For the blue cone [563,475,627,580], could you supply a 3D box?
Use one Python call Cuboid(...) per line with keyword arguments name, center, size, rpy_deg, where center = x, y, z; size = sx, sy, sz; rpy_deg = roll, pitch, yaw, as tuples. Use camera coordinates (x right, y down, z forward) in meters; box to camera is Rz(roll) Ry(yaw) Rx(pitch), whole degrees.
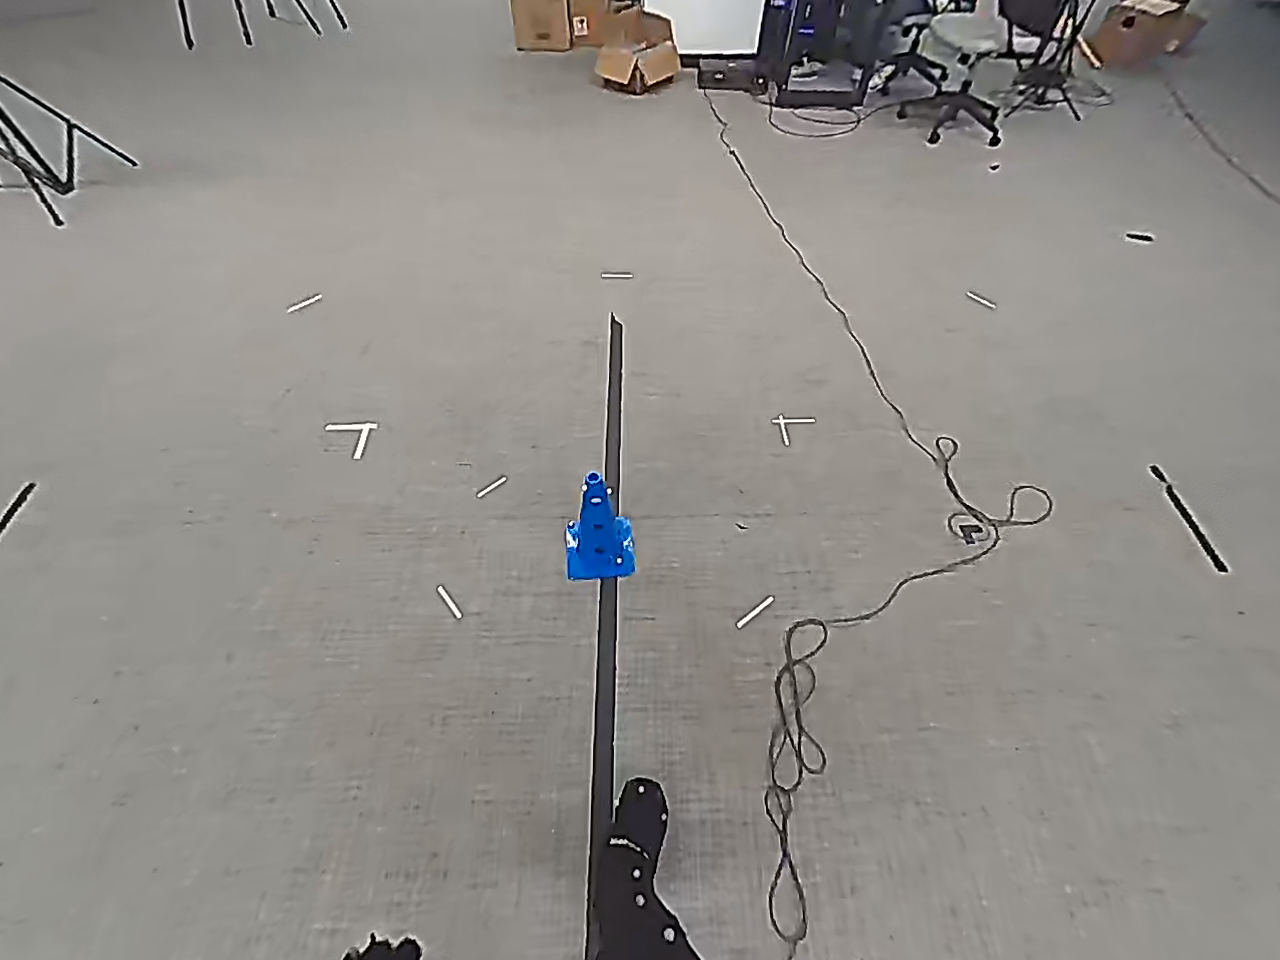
Cuboid(name="blue cone", center=(-0.135, 0.110, 1.491), size=(0.192, 0.380, 0.193), rpy_deg=(-3, 53, -3))
